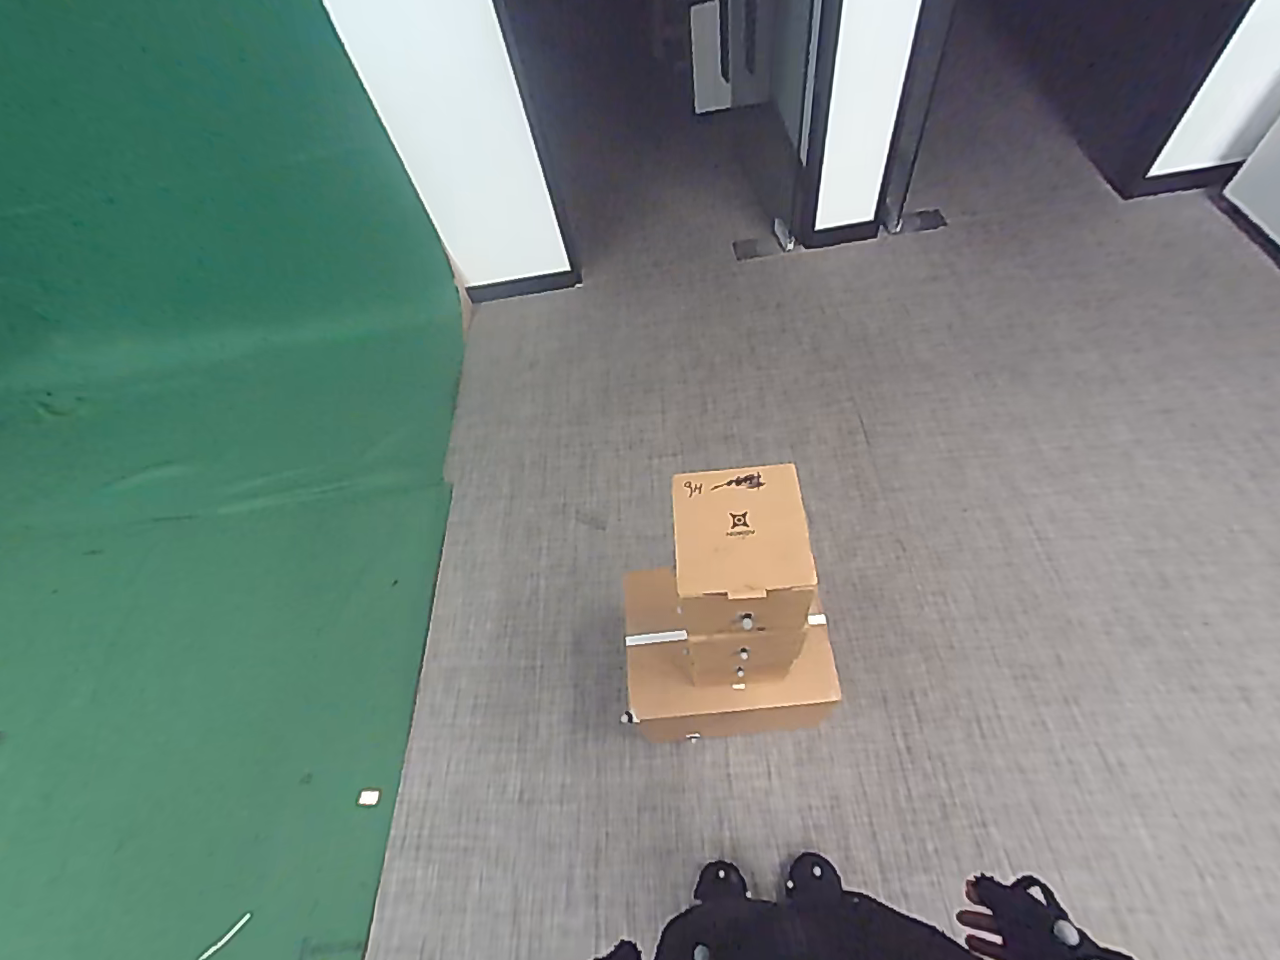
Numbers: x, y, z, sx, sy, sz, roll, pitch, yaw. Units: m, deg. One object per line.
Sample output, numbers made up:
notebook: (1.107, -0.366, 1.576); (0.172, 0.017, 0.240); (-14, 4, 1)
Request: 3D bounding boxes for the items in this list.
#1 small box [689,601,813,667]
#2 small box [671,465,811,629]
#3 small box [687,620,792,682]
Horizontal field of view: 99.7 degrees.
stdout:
small box: (0.163, 0.195, 0.879); (0.179, 0.176, 0.168); (-10, 58, 4)
small box: (0.136, 0.101, 0.748); (0.168, 0.176, 0.179); (-5, 58, 8)
small box: (0.180, 0.277, 1.021); (0.179, 0.176, 0.168); (-6, 58, 5)
